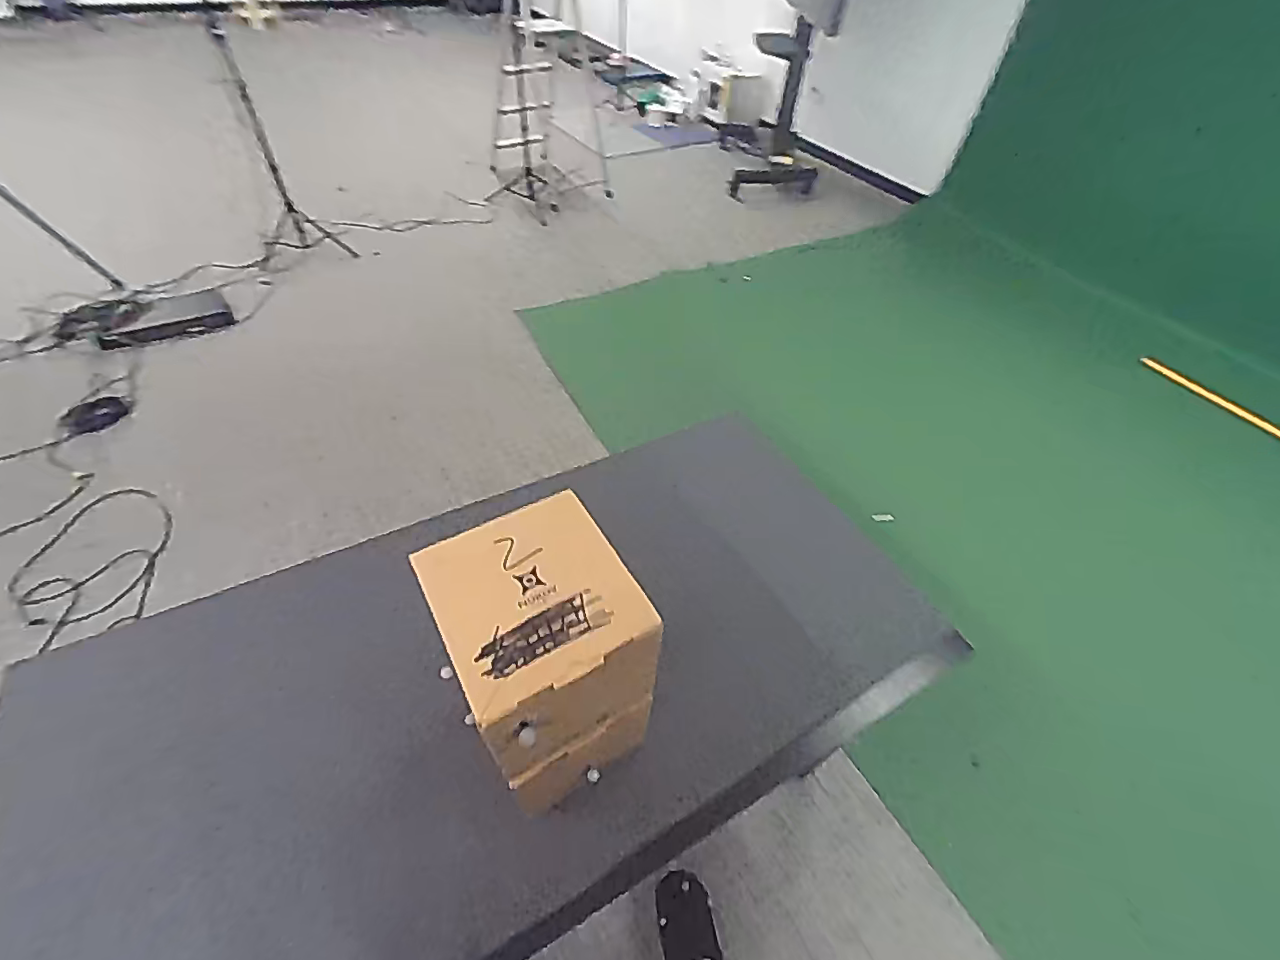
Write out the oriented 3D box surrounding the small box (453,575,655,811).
[{"bbox_3d":[-0.102,0.253,0.645,0.168,0.176,0.179,-25,54,-24],"label":"small box"}]
